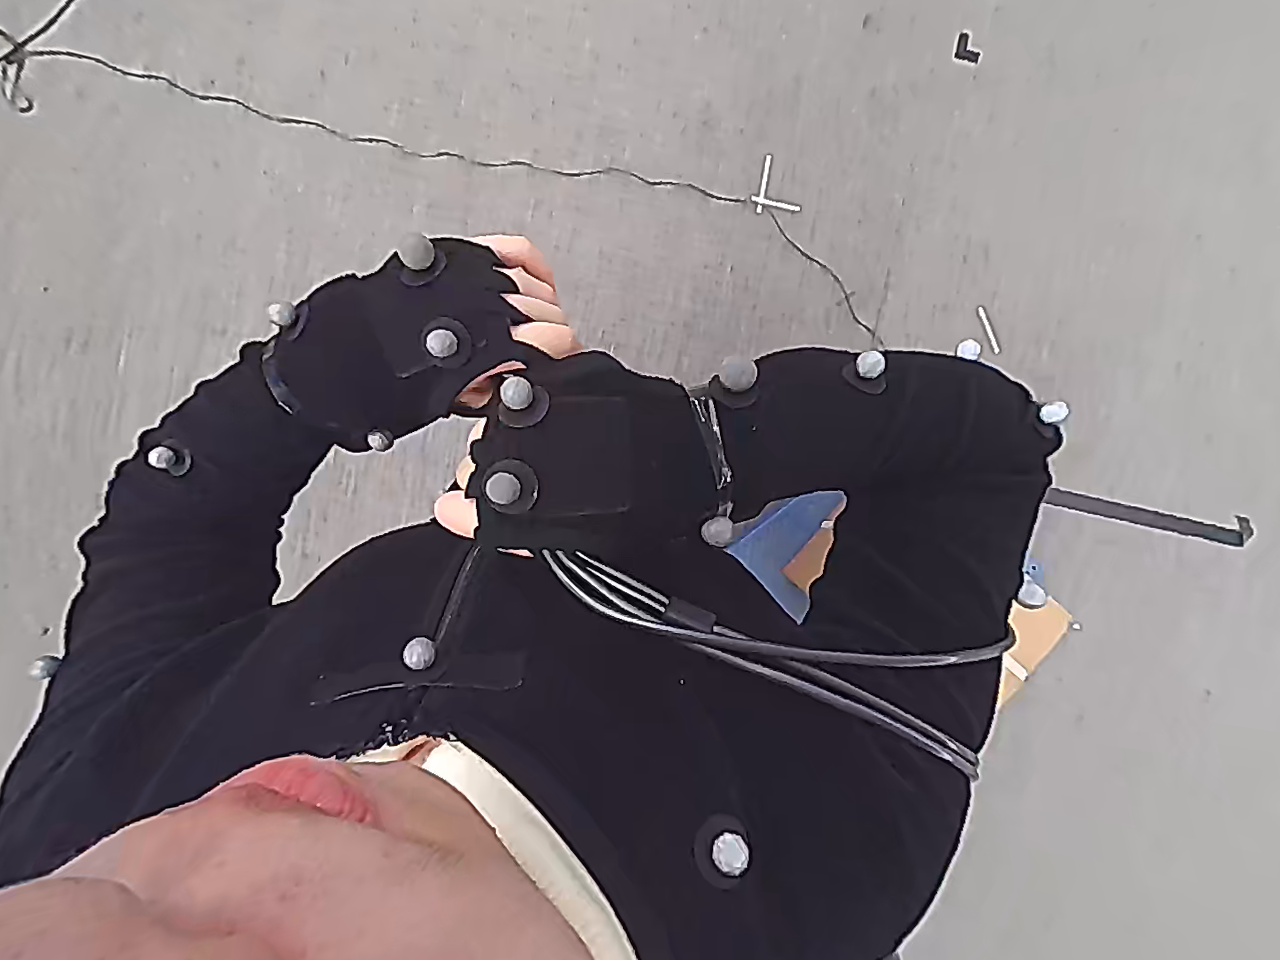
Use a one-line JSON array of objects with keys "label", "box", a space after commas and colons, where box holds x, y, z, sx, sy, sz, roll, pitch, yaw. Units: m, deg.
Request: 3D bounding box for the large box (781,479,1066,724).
[{"label": "large box", "box": [0.603, 0.244, 1.220, 0.408, 0.320, 0.320, 41, 92, -7]}]
